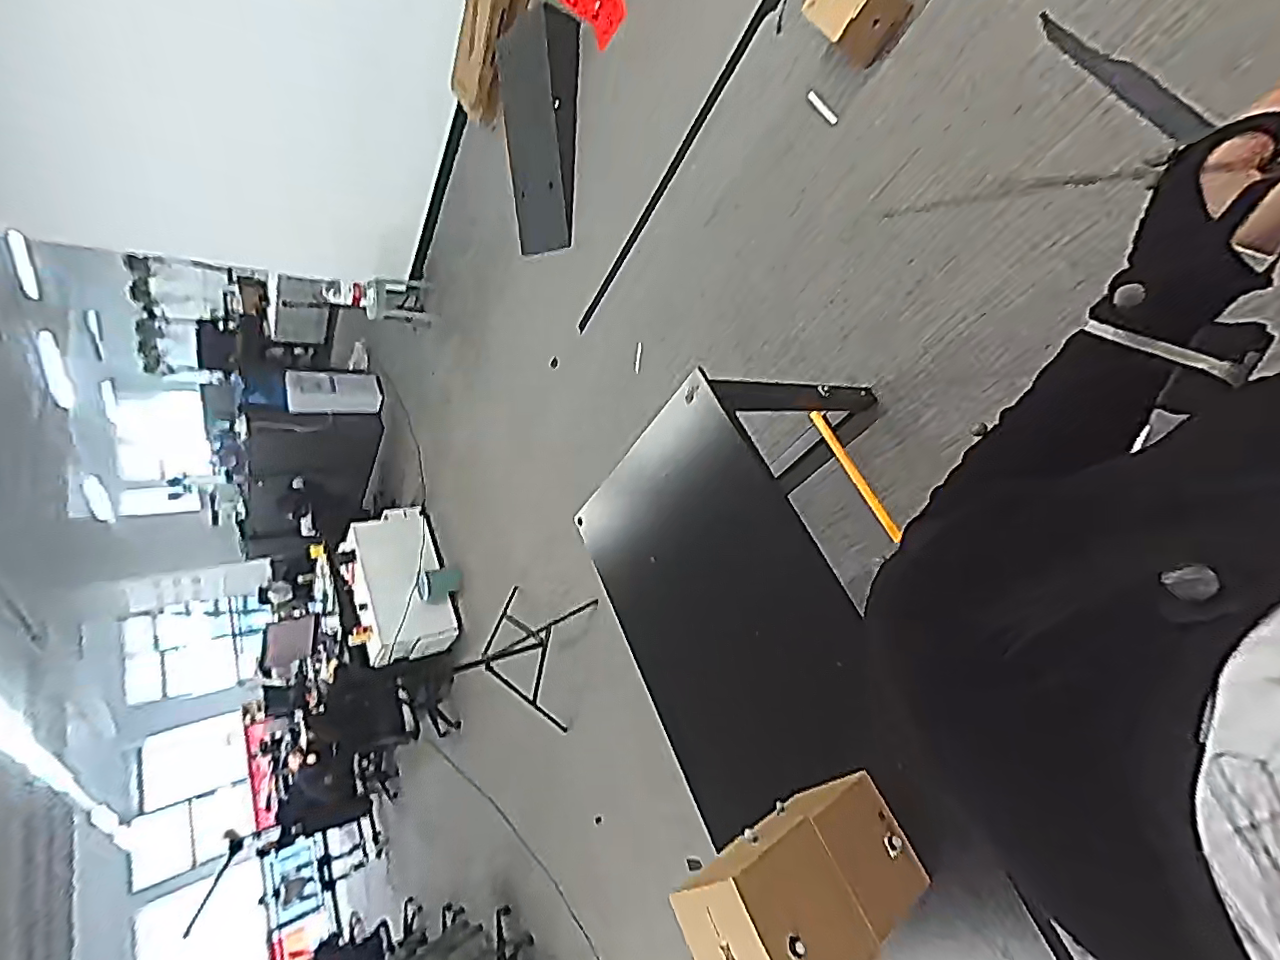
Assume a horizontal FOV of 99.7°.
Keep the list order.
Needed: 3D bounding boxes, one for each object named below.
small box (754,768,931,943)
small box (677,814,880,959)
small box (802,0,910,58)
[{"bbox_3d":[0.314,0.591,0.855,0.179,0.176,0.168,-53,57,39],"label":"small box"},{"bbox_3d":[0.189,0.606,0.747,0.168,0.176,0.179,-54,55,40],"label":"small box"},{"bbox_3d":[0.575,-1.264,1.427,0.168,0.176,0.179,-50,59,42],"label":"small box"}]
